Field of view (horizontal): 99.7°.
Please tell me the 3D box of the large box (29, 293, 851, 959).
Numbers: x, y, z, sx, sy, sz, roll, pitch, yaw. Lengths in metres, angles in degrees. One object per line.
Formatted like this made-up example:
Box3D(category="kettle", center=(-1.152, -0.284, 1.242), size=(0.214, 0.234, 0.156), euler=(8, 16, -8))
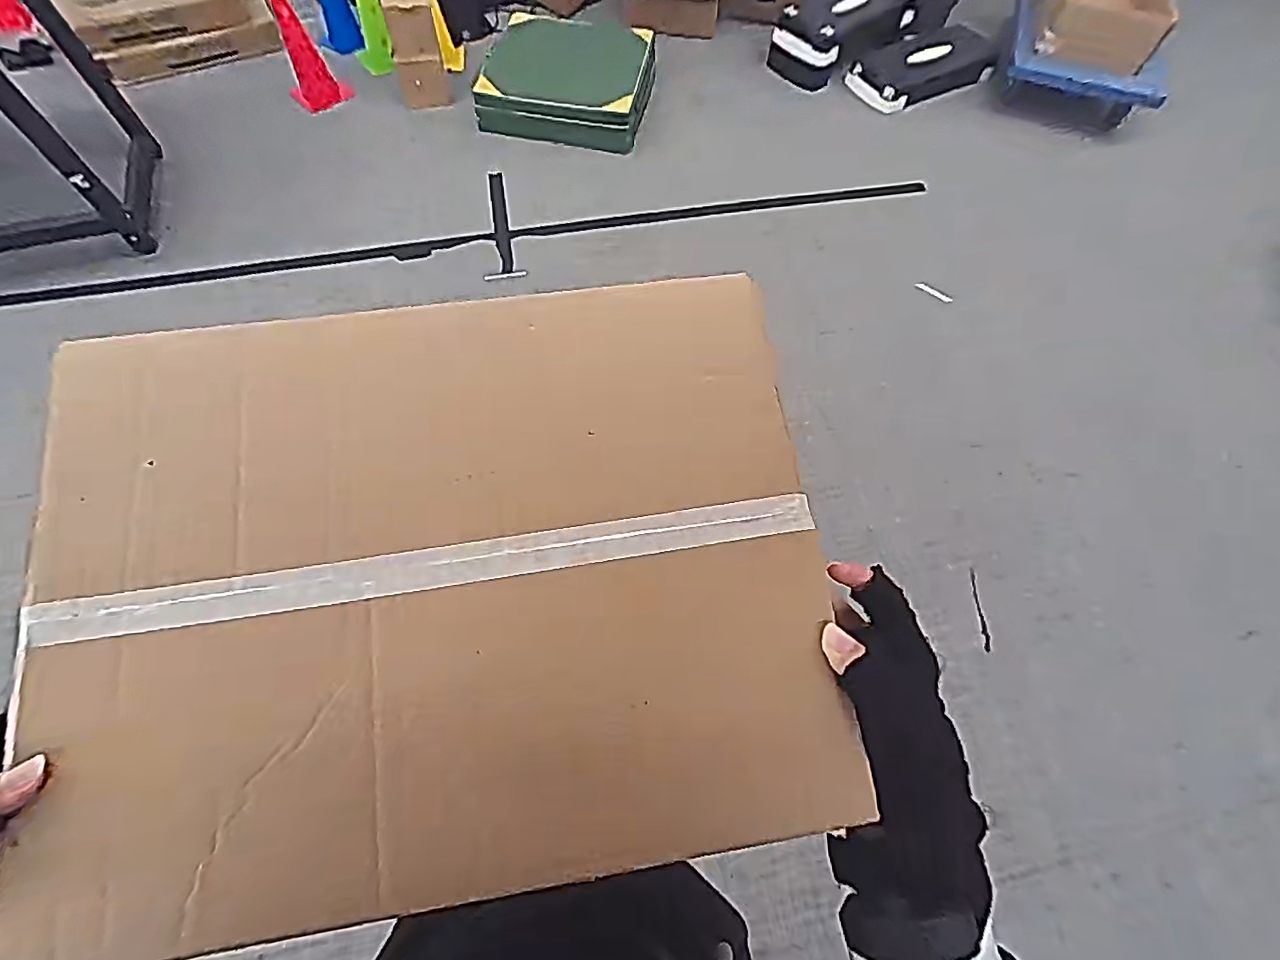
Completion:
Box3D(category="large box", center=(-0.114, 0.089, 0.441), size=(0.408, 0.320, 0.320), euler=(-8, 75, -5))
